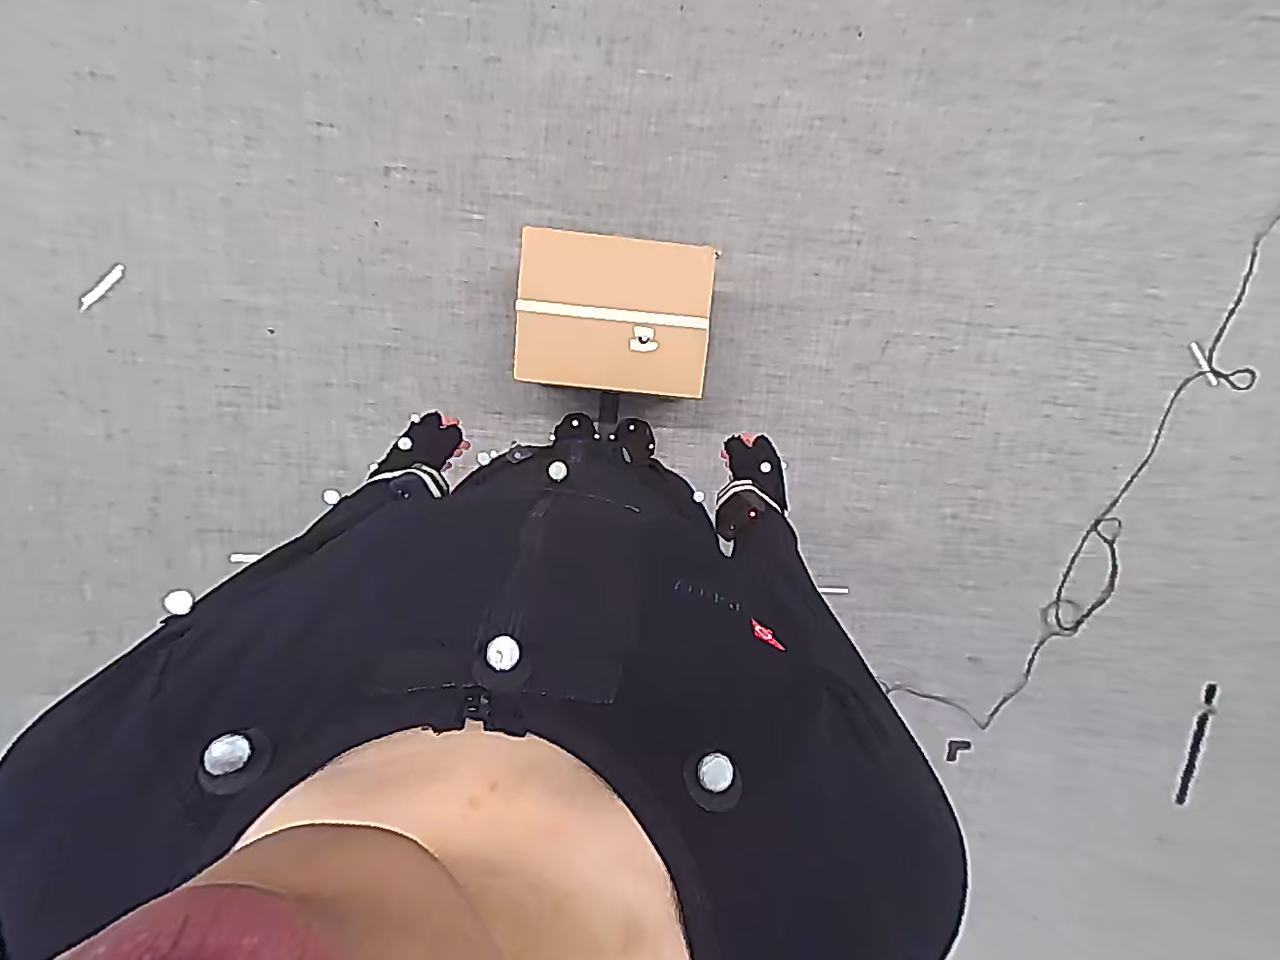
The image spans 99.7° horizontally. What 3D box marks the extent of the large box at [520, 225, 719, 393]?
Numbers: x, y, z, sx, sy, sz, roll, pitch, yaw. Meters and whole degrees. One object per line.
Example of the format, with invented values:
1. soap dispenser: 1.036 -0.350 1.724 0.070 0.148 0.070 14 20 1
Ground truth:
1. large box: -0.053 -0.376 1.276 0.408 0.320 0.320 5 99 -3
